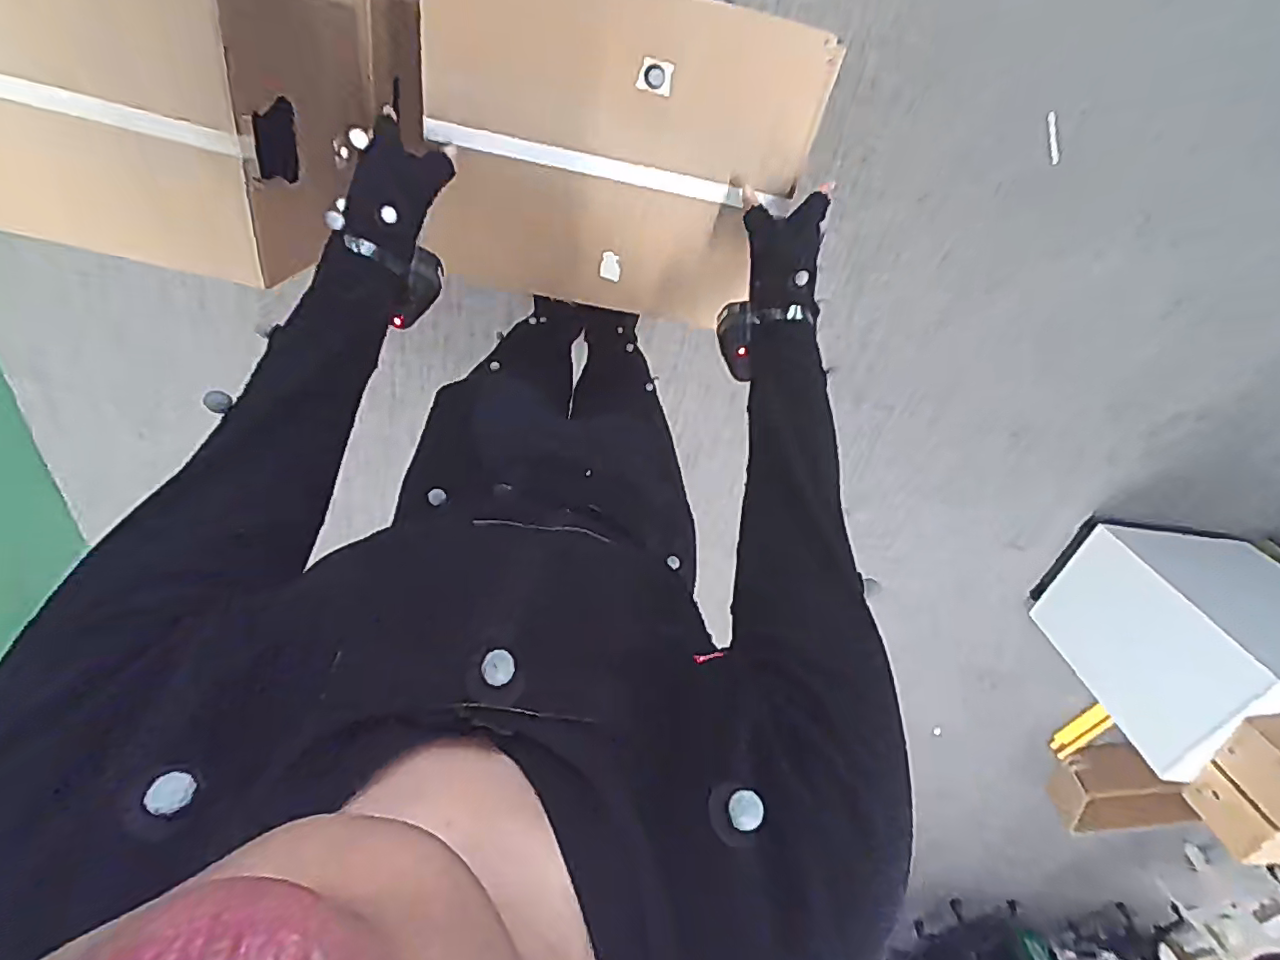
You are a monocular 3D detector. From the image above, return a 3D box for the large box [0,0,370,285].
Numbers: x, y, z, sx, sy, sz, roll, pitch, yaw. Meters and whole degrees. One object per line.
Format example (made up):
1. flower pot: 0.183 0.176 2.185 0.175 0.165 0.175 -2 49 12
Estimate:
1. large box: -0.612 -0.483 0.675 0.408 0.320 0.320 12 125 -7
